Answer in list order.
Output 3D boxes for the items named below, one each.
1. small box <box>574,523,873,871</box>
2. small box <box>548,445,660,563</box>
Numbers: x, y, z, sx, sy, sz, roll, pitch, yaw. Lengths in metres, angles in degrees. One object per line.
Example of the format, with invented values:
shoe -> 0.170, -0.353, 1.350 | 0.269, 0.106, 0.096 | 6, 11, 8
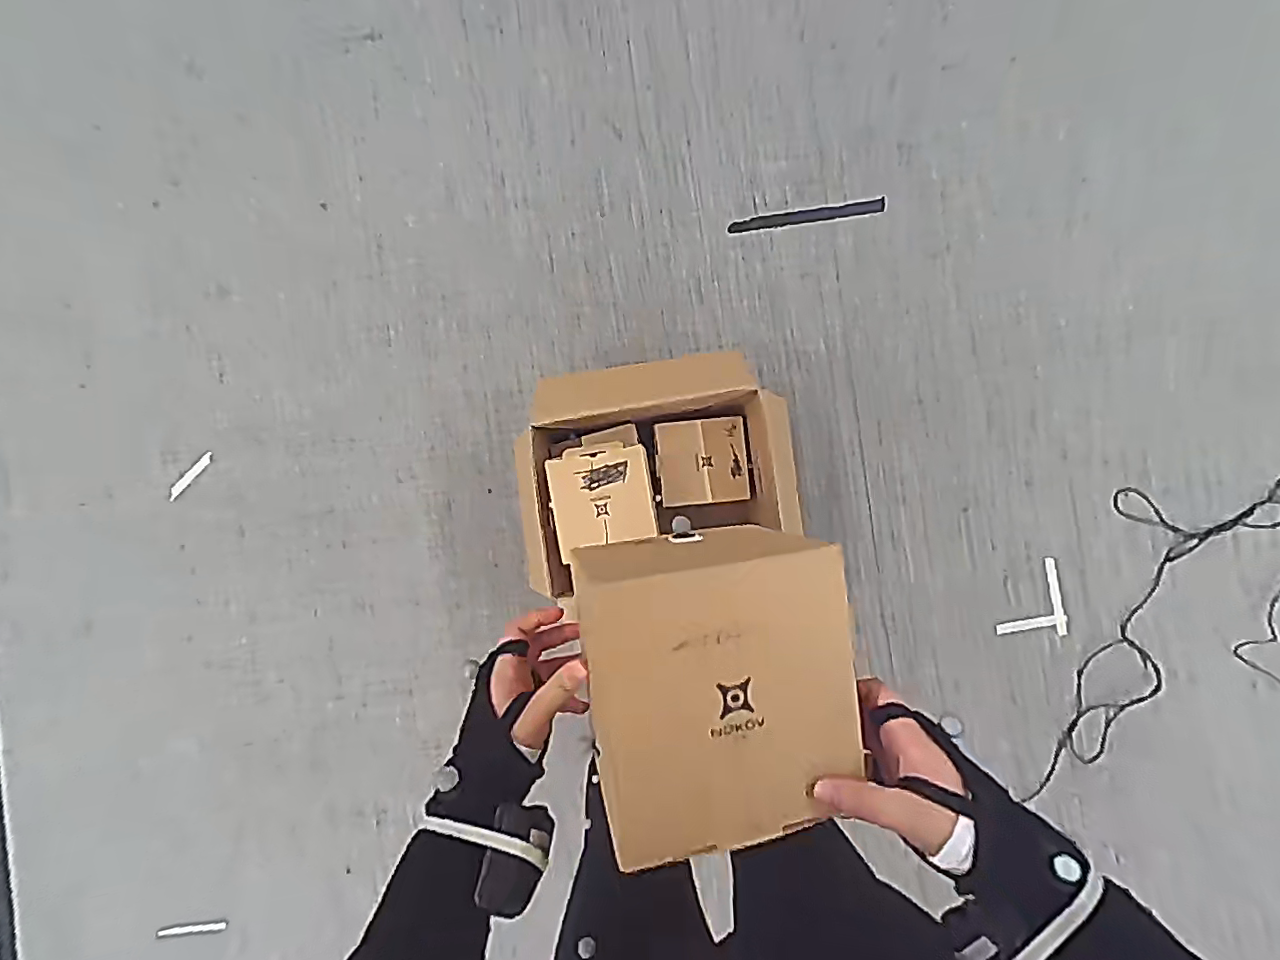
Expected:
small box -> 0.045, 0.133, 0.404 | 0.168, 0.176, 0.179 | -6, 91, -12
small box -> -0.056, 0.040, 0.963 | 0.168, 0.176, 0.179 | -9, 91, 3
